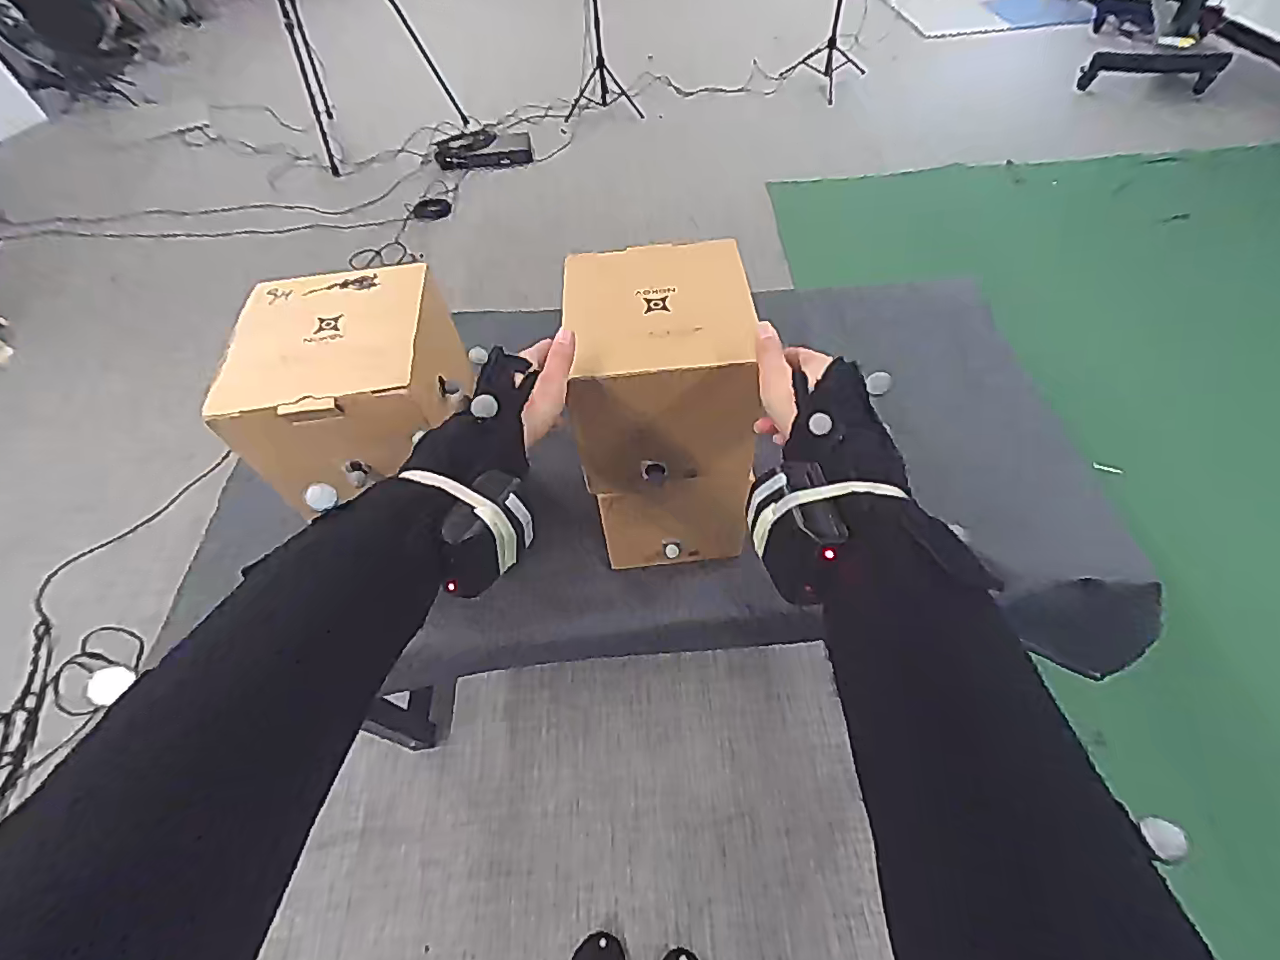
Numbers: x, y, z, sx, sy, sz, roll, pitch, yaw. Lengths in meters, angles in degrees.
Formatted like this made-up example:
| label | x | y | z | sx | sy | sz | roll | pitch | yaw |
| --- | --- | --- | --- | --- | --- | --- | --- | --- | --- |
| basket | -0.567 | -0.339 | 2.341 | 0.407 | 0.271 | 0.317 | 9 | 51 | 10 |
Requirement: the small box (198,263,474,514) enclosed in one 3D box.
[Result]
| label | x | y | z | sx | sy | sz | roll | pitch | yaw |
| --- | --- | --- | --- | --- | --- | --- | --- | --- | --- |
| small box | -0.270 | -0.079 | 0.532 | 0.168 | 0.176 | 0.179 | -9 | 56 | -3 |

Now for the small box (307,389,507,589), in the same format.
| label | x | y | z | sx | sy | sz | roll | pitch | yaw |
| --- | --- | --- | --- | --- | --- | --- | --- | --- | --- |
| small box | -0.267 | 0.013 | 0.667 | 0.168 | 0.176 | 0.179 | -7 | 55 | -2 |

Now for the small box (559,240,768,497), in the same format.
| label | x | y | z | sx | sy | sz | roll | pitch | yaw |
| --- | --- | --- | --- | --- | --- | --- | --- | --- | --- |
| small box | 0.019 | -0.105 | 0.530 | 0.168 | 0.176 | 0.179 | -6 | 55 | 1 |

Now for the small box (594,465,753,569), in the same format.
| label | x | y | z | sx | sy | sz | roll | pitch | yaw |
| --- | --- | --- | --- | --- | --- | --- | --- | --- | --- |
| small box | 0.031 | -0.012 | 0.662 | 0.168 | 0.176 | 0.179 | -6 | 54 | 0 |
